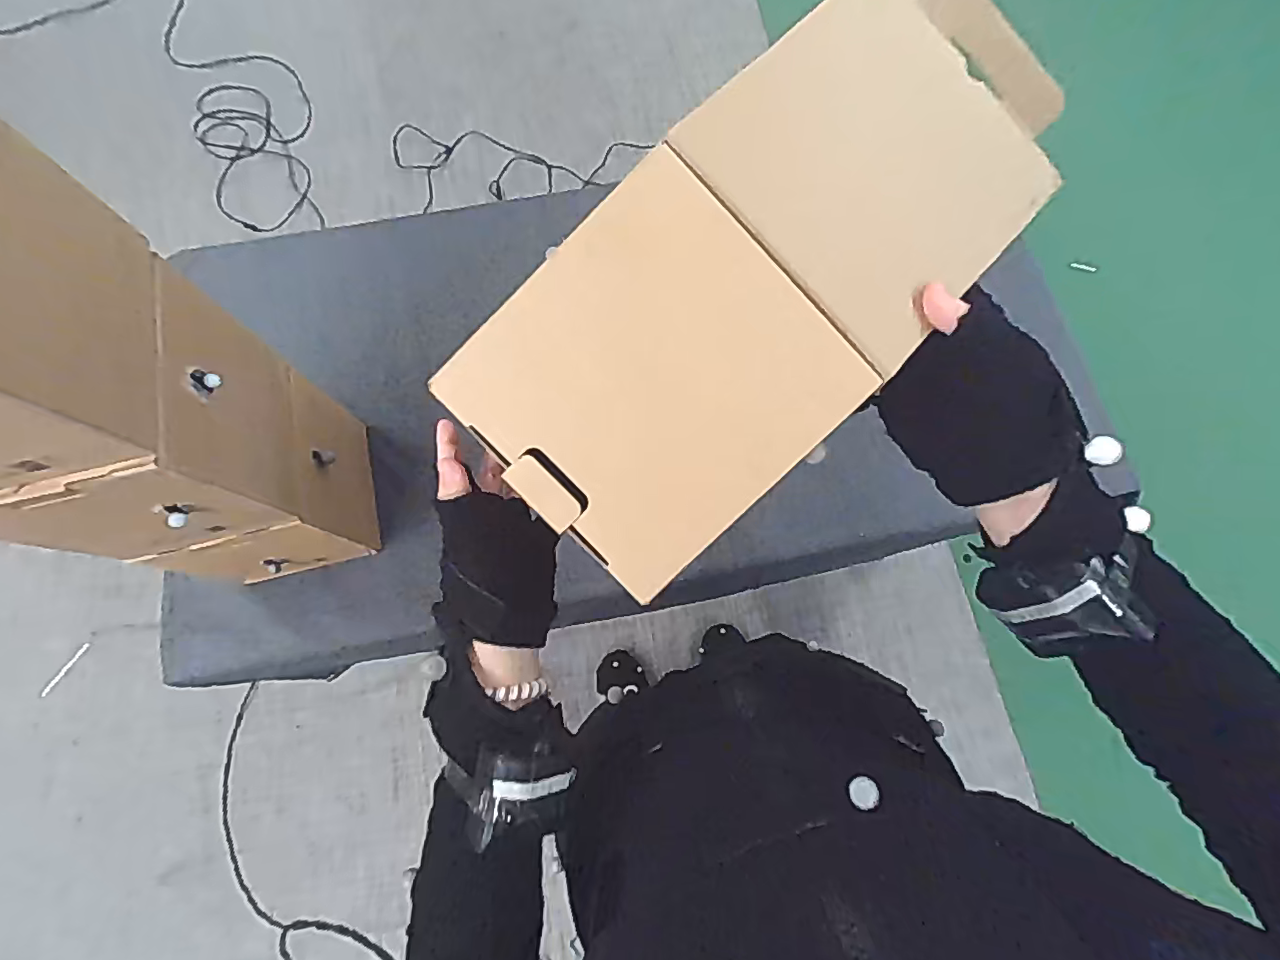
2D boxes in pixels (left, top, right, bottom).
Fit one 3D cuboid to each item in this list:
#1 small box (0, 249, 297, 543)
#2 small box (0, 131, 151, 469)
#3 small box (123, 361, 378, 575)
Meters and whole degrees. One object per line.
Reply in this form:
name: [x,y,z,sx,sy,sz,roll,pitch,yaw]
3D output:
small box: [-0.416,-0.052,0.450,0.168,0.176,0.179,-13,74,-5]
small box: [-0.417,-0.105,0.294,0.168,0.176,0.179,-14,74,-6]
small box: [-0.418,-0.003,0.605,0.168,0.176,0.179,-13,74,-4]
